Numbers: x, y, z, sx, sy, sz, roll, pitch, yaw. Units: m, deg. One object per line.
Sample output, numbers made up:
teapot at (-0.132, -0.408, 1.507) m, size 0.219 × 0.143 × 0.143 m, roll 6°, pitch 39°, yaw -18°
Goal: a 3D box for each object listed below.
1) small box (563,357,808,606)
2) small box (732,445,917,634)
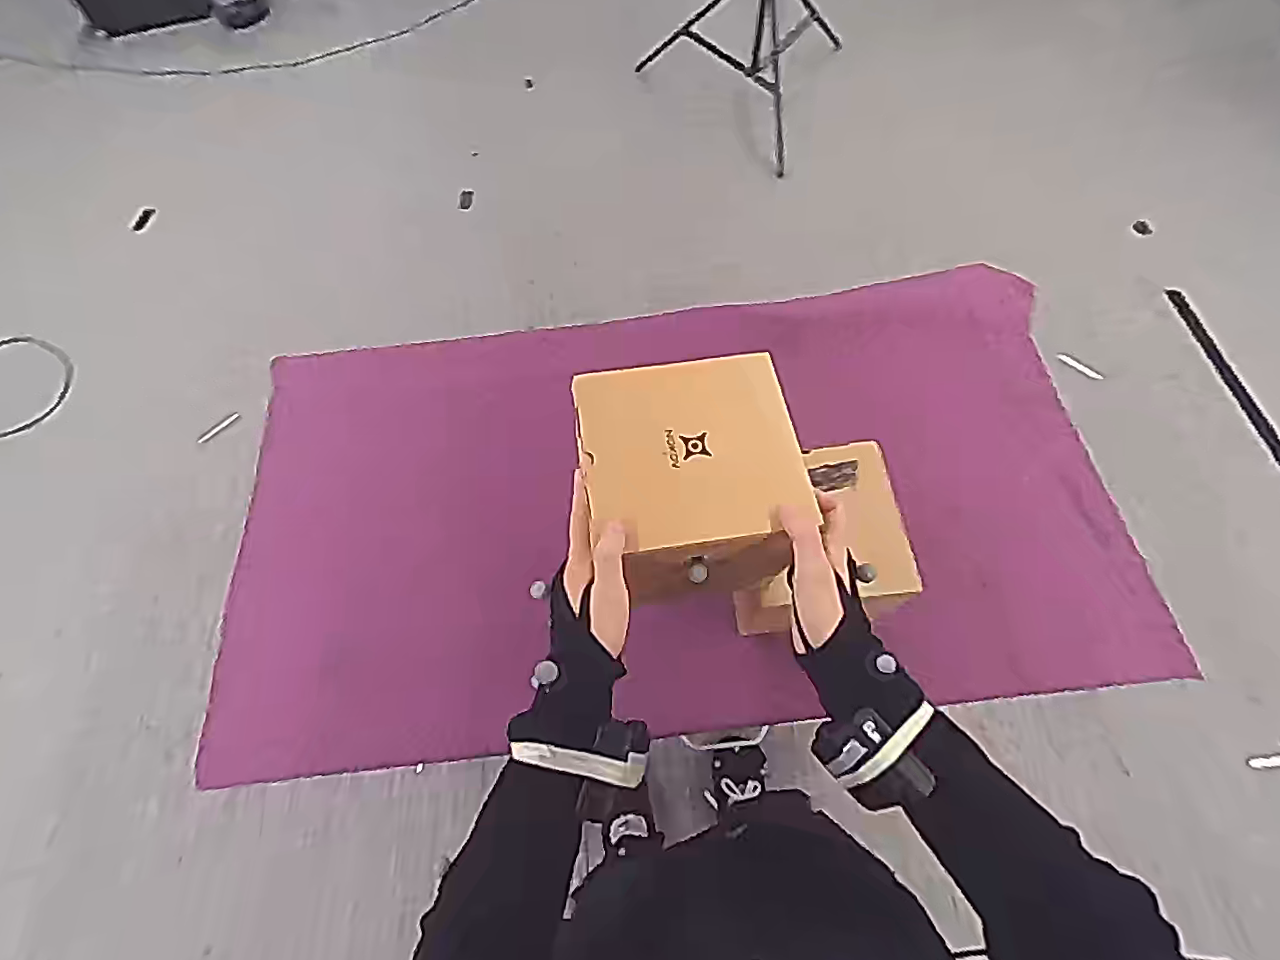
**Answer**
small box at (0.030, 0.011, 0.505) m, size 0.179 × 0.176 × 0.168 m, roll -8°, pitch 65°, yaw -4°
small box at (0.195, 0.078, 0.651) m, size 0.168 × 0.176 × 0.179 m, roll -5°, pitch 65°, yaw 1°
